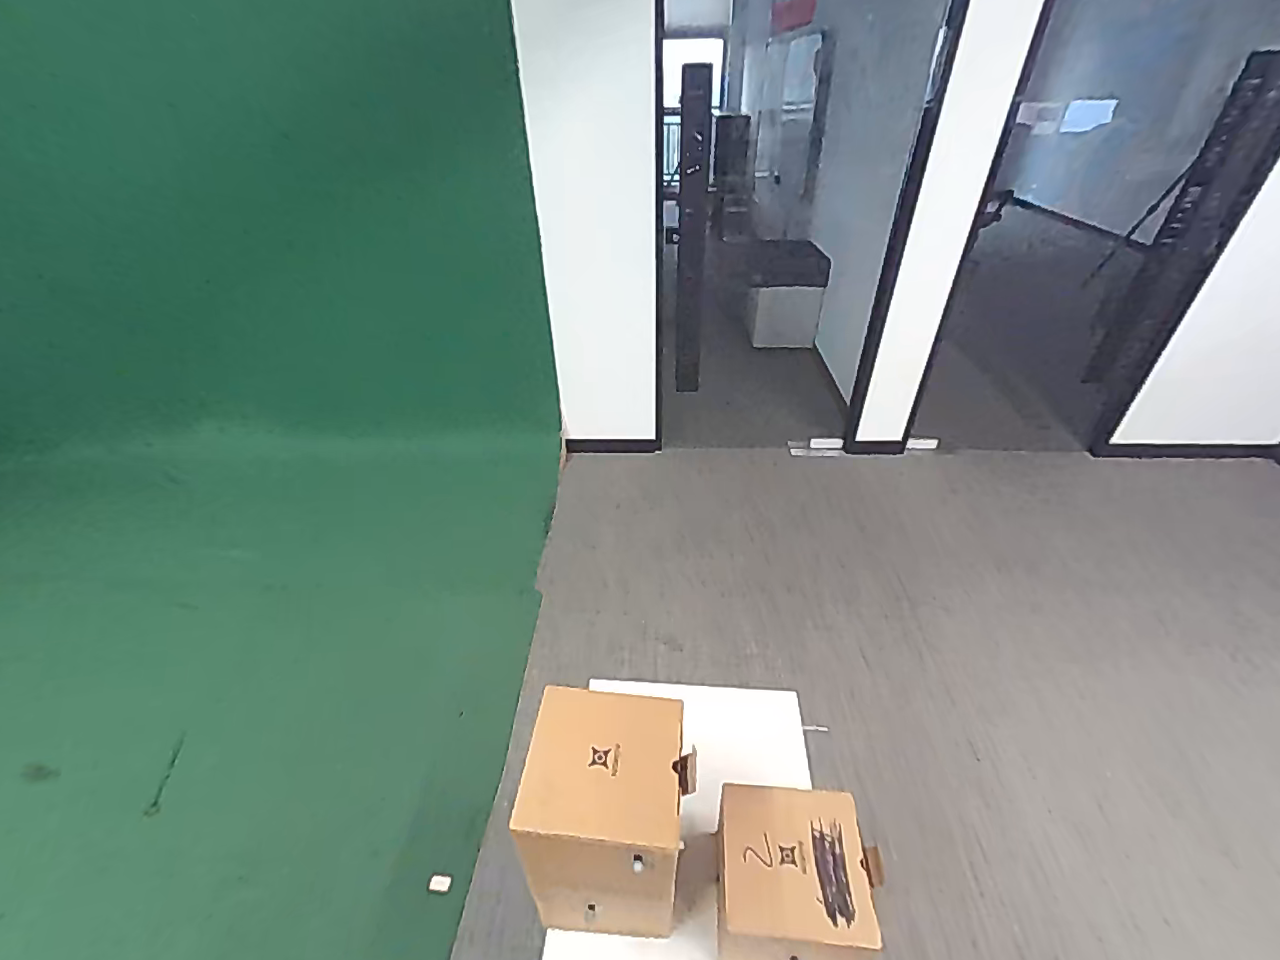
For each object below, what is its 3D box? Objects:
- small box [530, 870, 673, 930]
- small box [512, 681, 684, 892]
[{"bbox_3d":[-0.042,0.502,0.760,0.179,0.176,0.168,2,37,3],"label":"small box"},{"bbox_3d":[-0.040,0.372,0.660,0.179,0.176,0.168,5,36,3],"label":"small box"}]
